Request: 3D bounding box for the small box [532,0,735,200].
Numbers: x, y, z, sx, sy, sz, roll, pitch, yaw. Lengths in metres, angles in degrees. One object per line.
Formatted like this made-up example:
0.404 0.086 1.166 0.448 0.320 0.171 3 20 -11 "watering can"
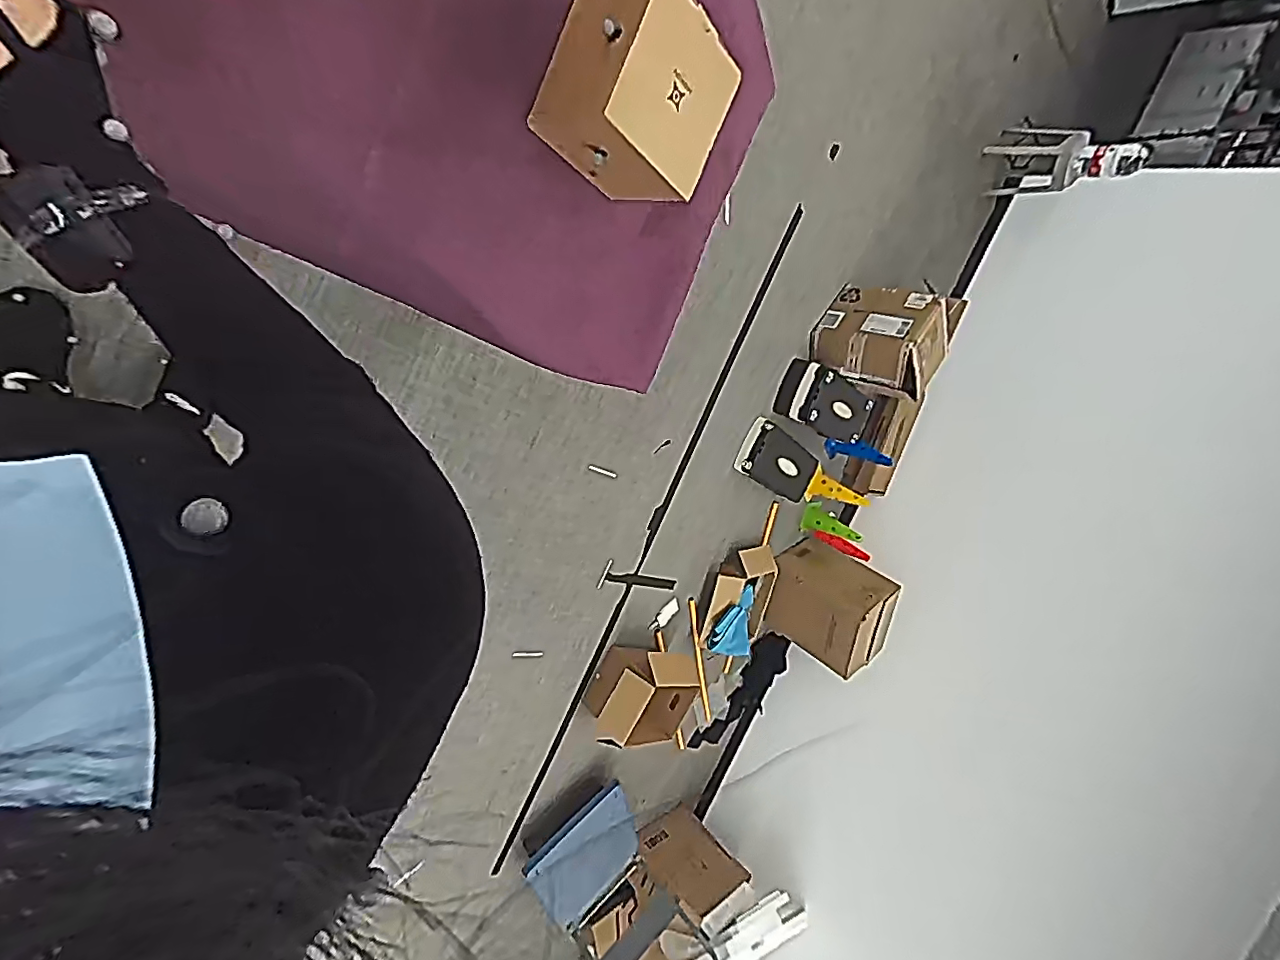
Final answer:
-0.014 -0.492 0.702 0.168 0.176 0.179 18 97 -49 "small box"
